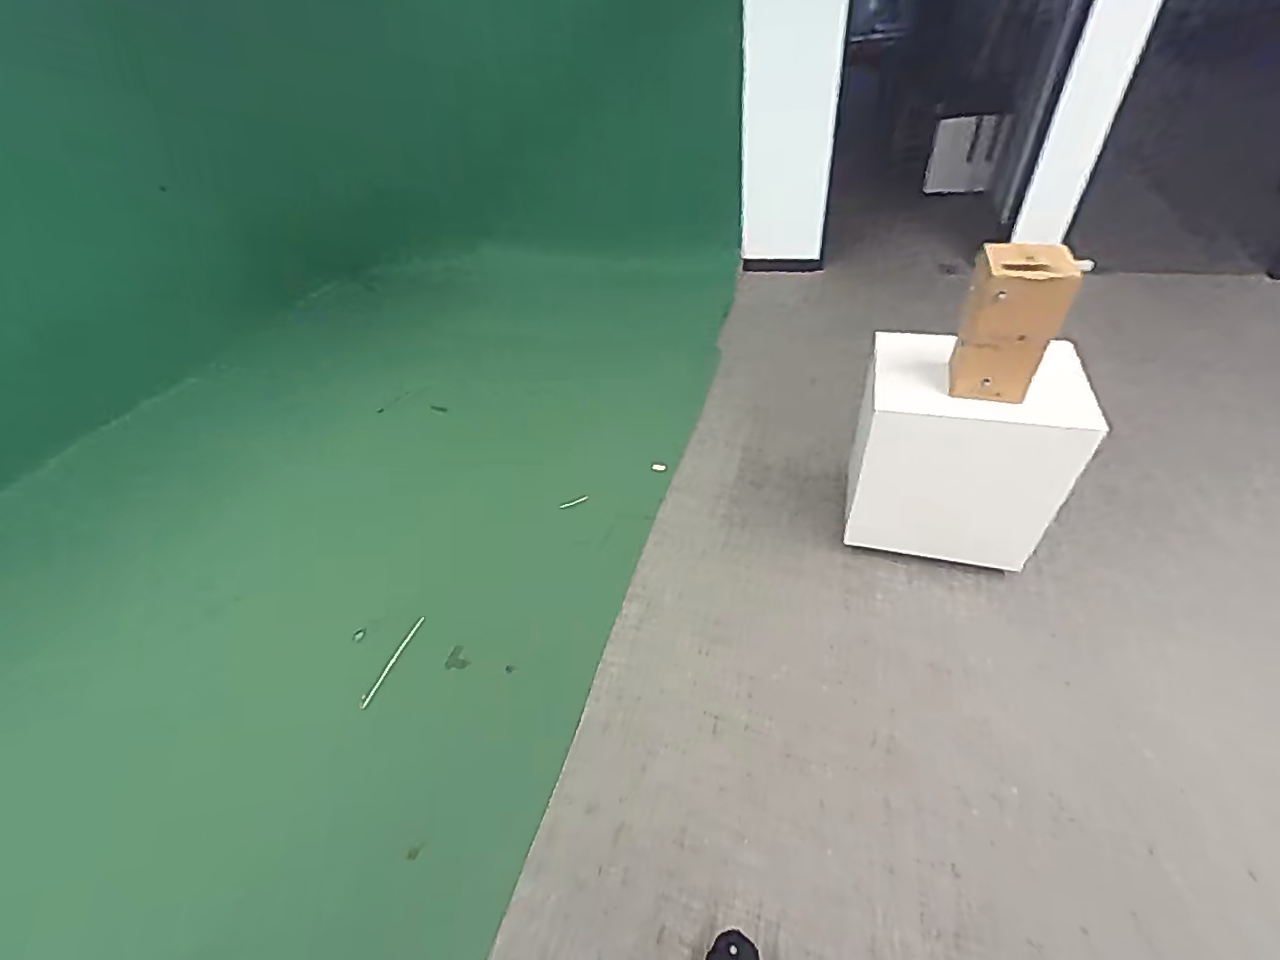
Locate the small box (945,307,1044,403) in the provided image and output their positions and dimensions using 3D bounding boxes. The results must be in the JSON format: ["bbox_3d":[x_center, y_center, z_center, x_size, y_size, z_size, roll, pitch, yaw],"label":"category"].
[{"bbox_3d":[0.891,-0.319,1.378,0.168,0.176,0.179,10,46,19],"label":"small box"}]
